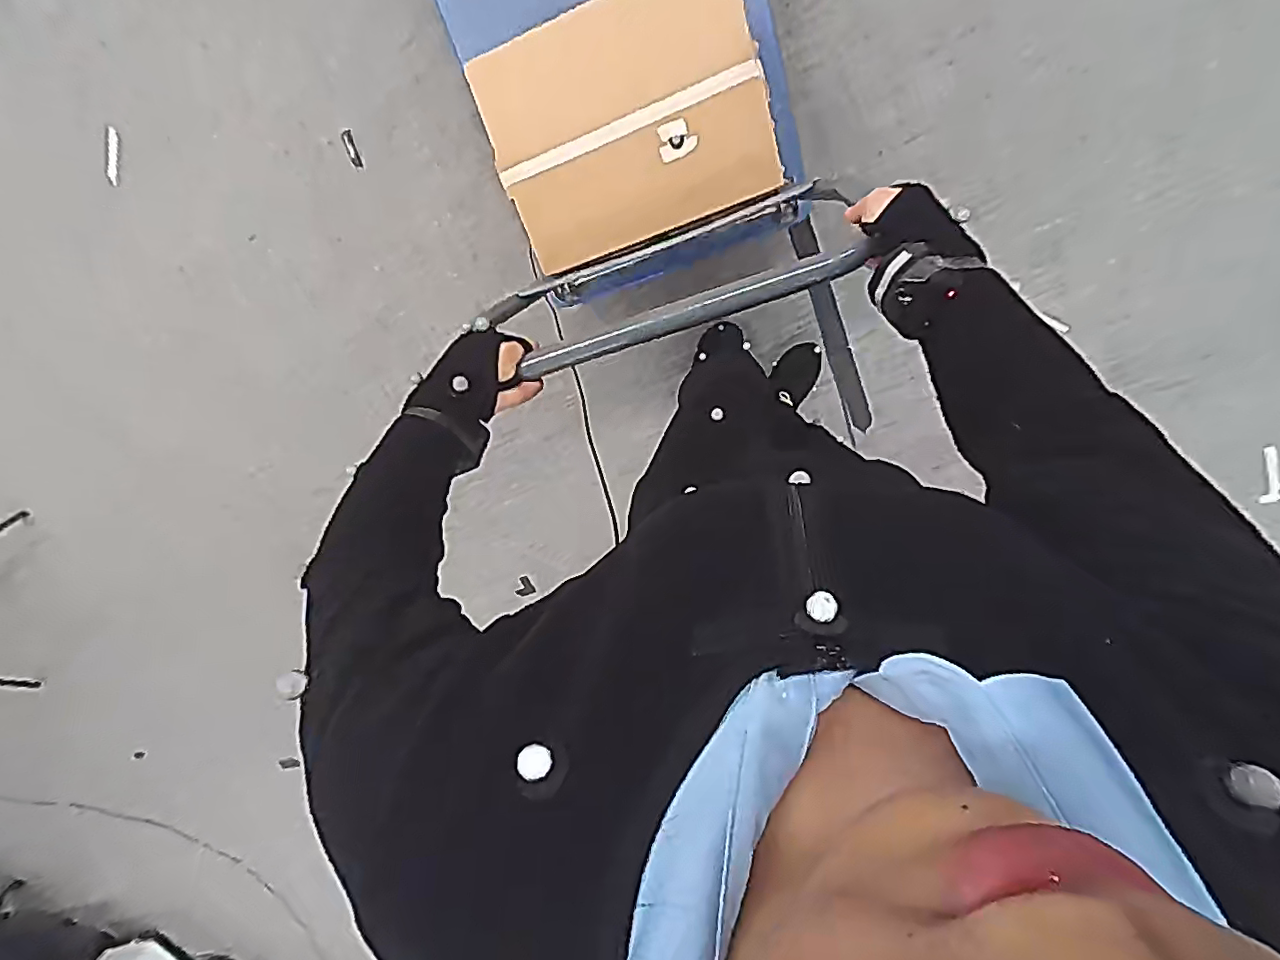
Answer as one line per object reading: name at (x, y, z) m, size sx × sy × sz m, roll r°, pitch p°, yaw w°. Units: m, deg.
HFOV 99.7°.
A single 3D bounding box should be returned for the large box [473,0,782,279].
large box at (-0.004, -0.581, 0.949) m, size 0.408 × 0.320 × 0.320 m, roll -16°, pitch 111°, yaw 12°
